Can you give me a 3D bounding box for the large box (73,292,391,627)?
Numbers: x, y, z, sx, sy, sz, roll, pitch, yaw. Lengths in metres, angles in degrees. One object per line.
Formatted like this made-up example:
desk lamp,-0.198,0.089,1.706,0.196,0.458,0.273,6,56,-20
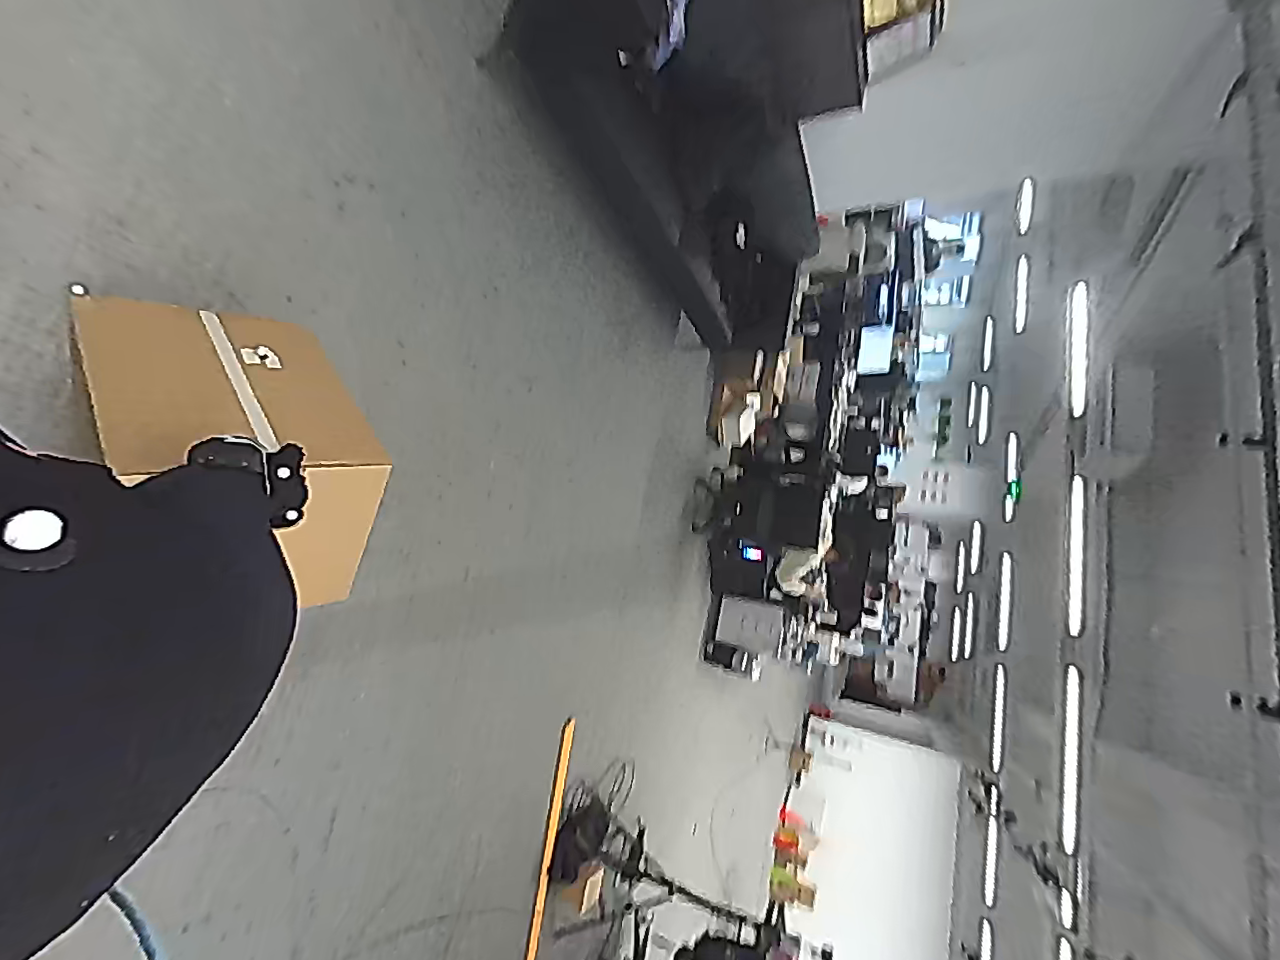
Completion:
large box,-0.664,-0.044,0.875,0.320,0.408,0.320,-6,135,-49
